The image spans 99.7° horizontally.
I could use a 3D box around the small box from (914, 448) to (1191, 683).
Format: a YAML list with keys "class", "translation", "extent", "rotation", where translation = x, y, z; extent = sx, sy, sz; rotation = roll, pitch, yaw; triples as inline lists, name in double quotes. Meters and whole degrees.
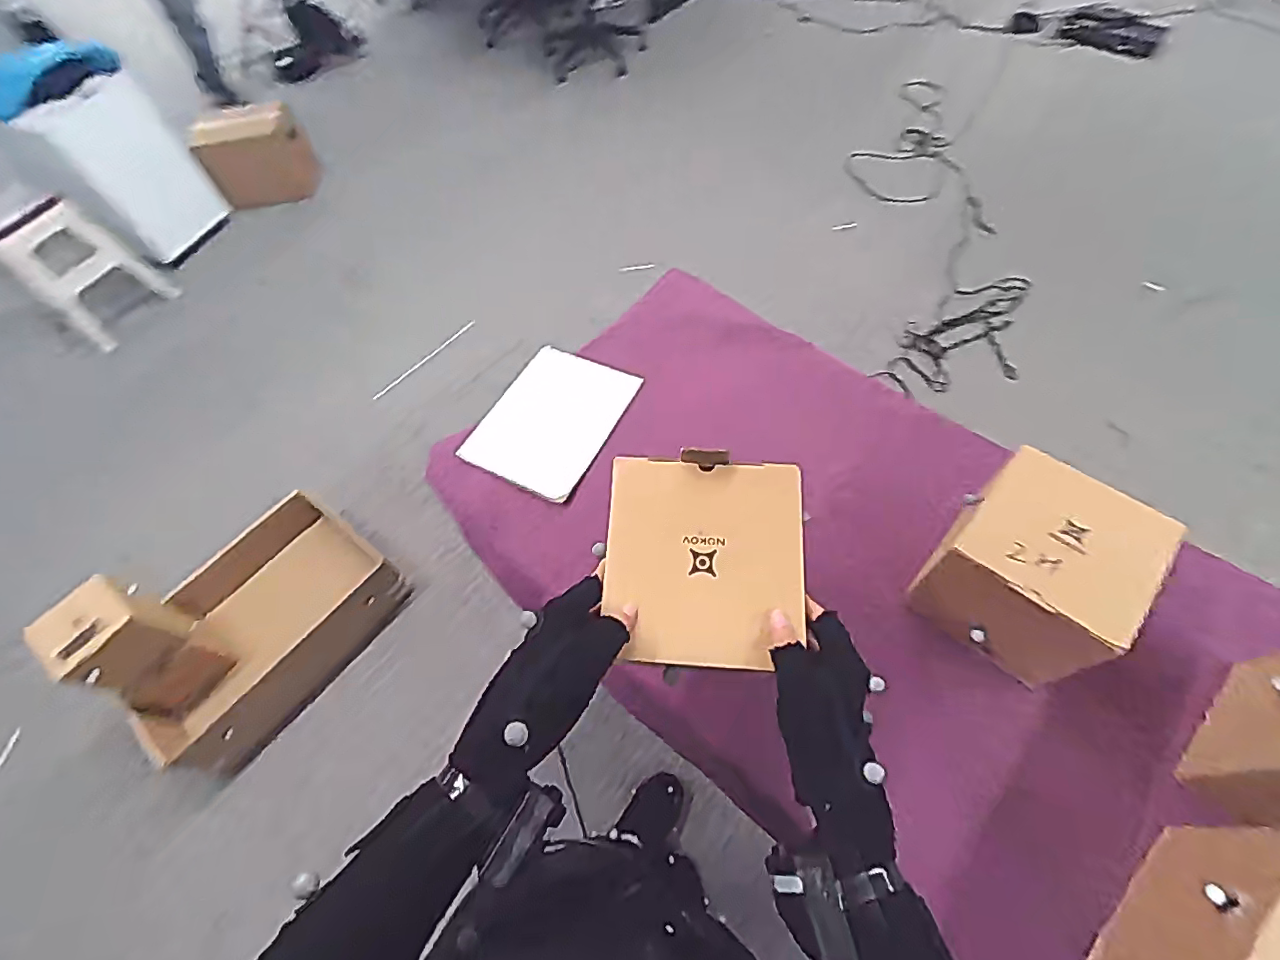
- class: "small box"
  translation: [0.452, 0.103, 0.624]
  extent: [0.168, 0.176, 0.179]
  rotation: [38, 70, 24]

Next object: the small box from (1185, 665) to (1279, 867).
- class: "small box"
  translation: [0.679, 0.278, 0.498]
  extent: [0.179, 0.176, 0.168]
  rotation: [-39, 63, -18]
